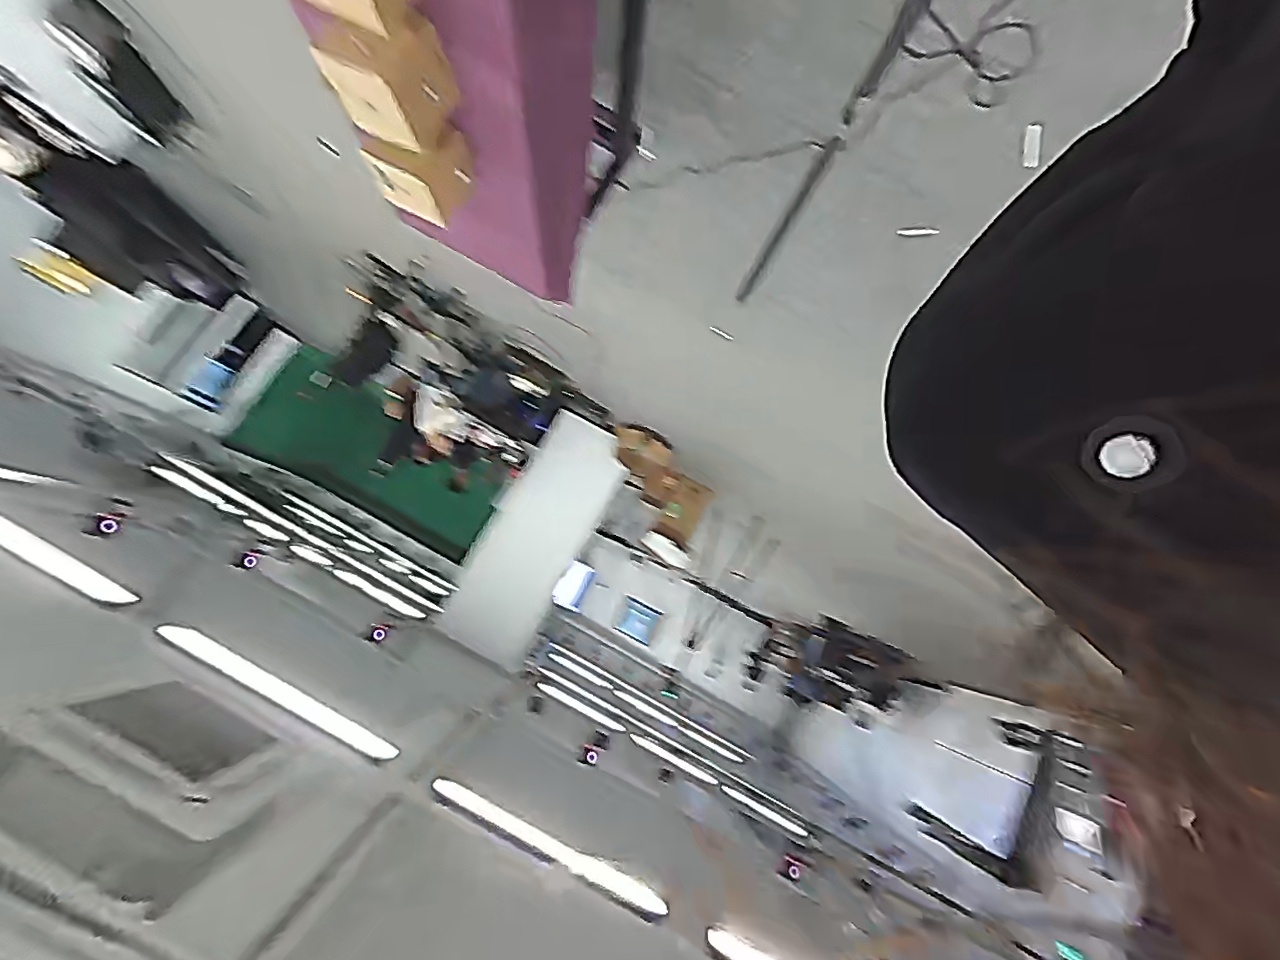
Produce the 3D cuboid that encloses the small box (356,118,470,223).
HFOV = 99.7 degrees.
[{"bbox_3d":[-0.560,-0.798,1.355,0.179,0.176,0.168,28,167,3],"label":"small box"}]

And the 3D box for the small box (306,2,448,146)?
[{"bbox_3d":[-0.521,-0.841,1.108,0.179,0.176,0.168,28,167,9],"label":"small box"}]

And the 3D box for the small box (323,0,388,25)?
[{"bbox_3d":[-0.470,-0.883,0.843,0.179,0.176,0.168,29,168,3],"label":"small box"}]
